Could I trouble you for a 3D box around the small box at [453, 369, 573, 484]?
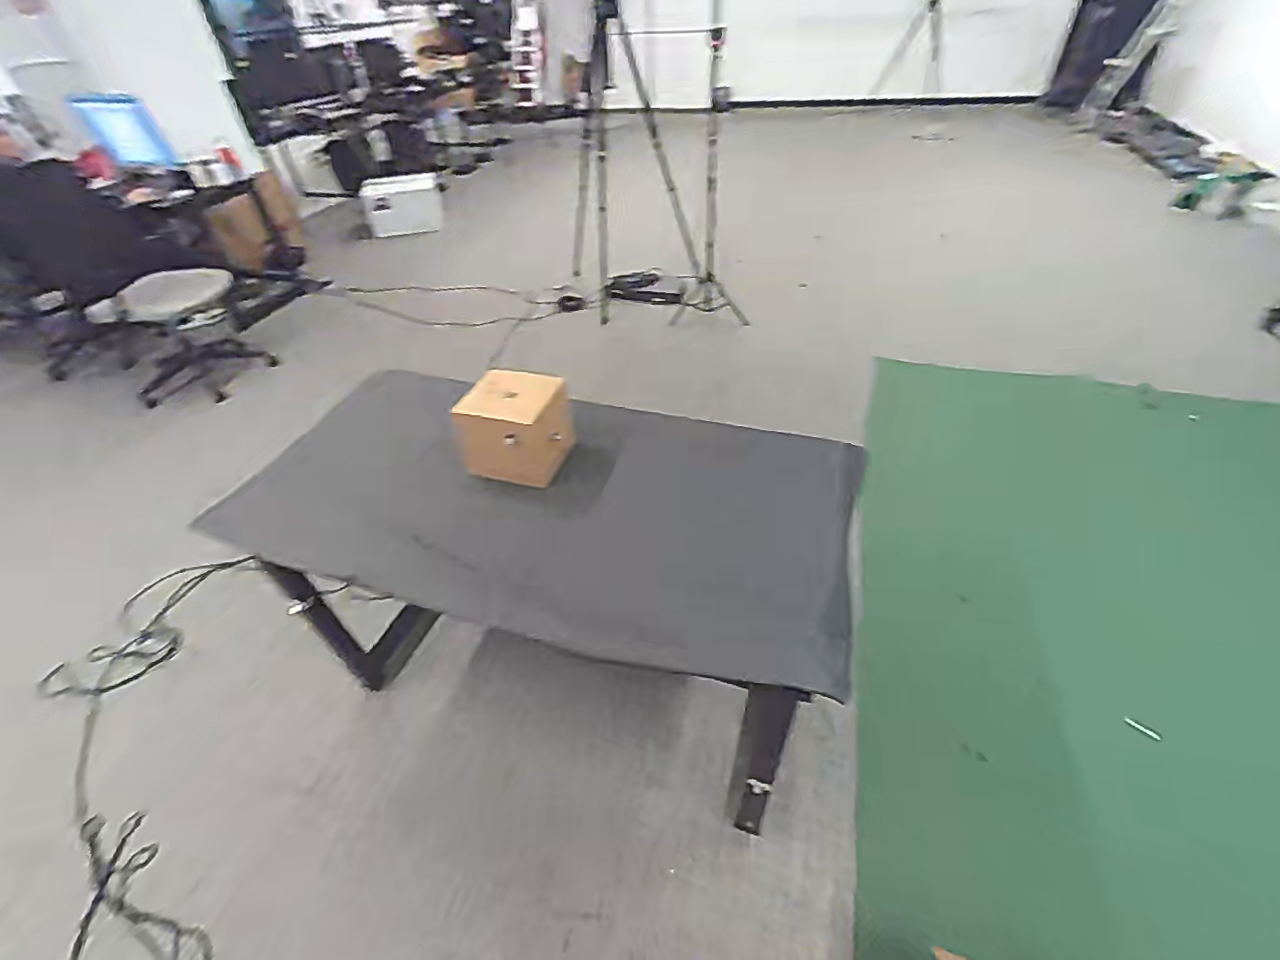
[{"bbox_3d":[-0.255,-0.111,1.138,0.179,0.176,0.168,10,44,15],"label":"small box"}]
